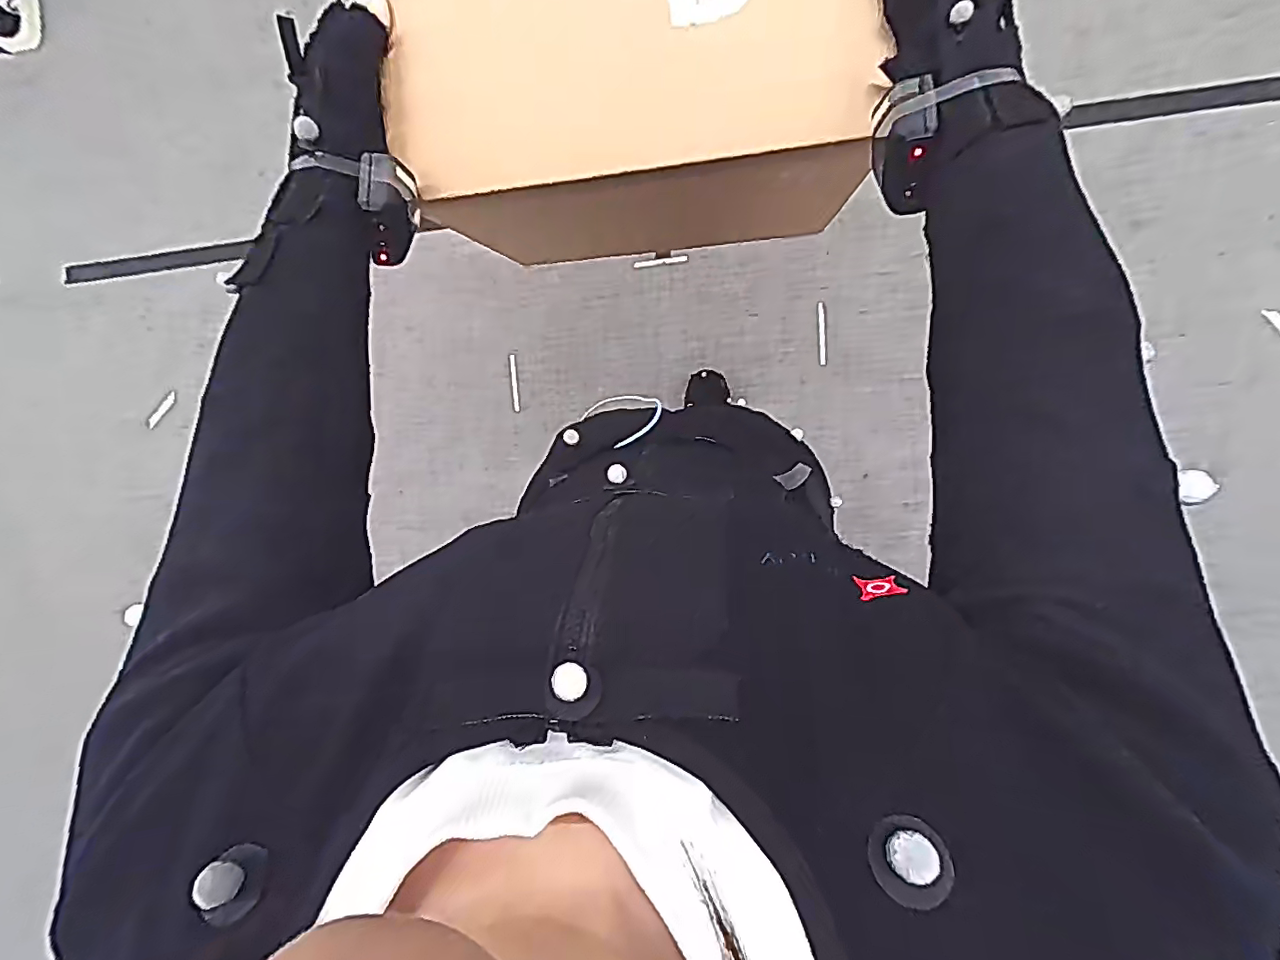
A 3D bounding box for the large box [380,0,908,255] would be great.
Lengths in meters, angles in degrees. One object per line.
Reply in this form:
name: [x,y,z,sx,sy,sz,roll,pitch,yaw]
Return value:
large box: [0.004,-0.440,0.544,0.408,0.320,0.320,-4,103,8]
